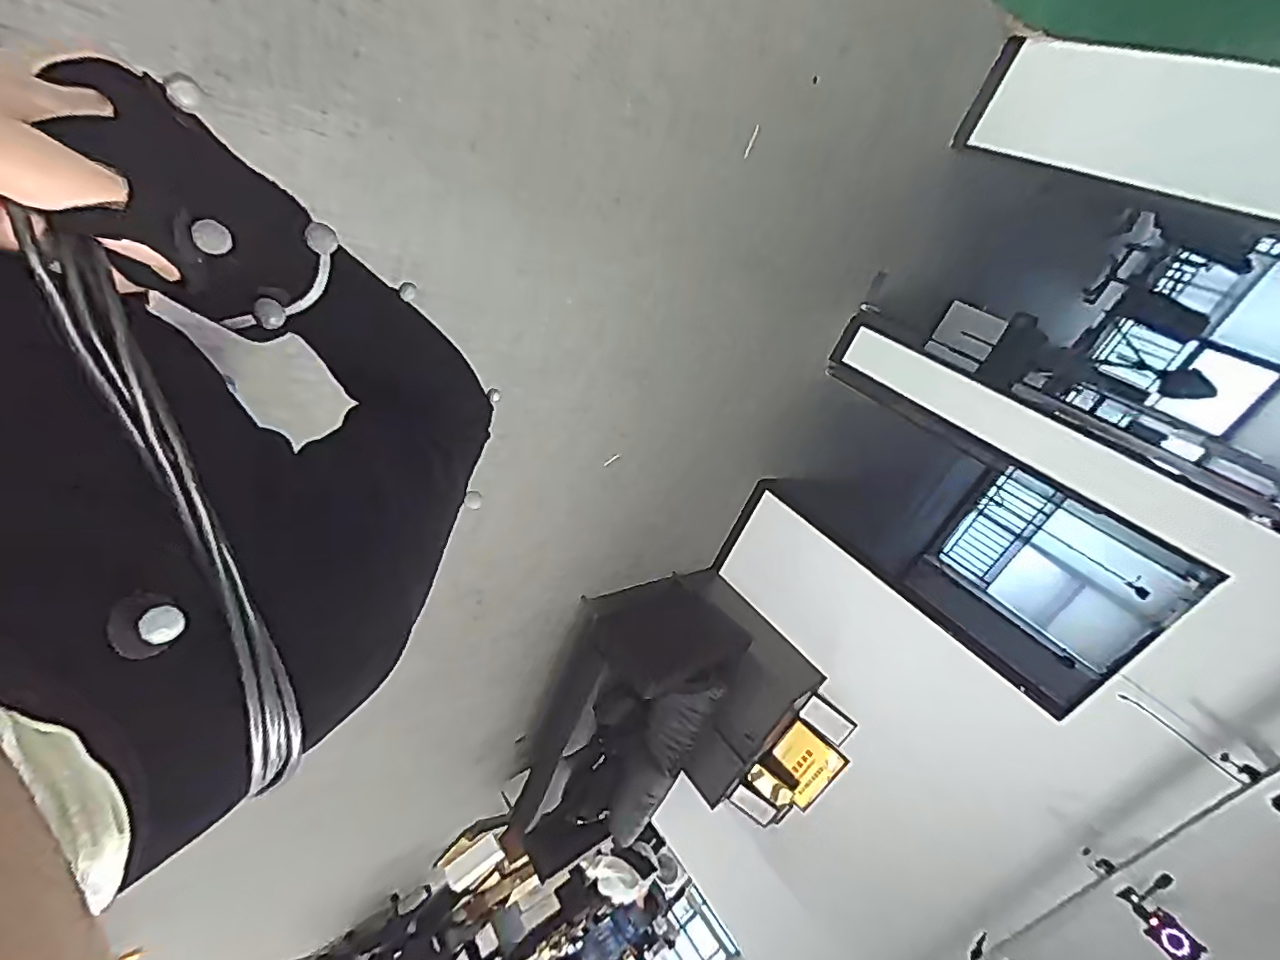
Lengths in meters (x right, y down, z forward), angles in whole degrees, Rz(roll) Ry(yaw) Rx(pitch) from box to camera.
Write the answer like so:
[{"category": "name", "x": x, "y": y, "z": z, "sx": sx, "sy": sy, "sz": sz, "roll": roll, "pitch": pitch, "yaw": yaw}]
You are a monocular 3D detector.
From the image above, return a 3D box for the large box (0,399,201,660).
[{"category": "large box", "x": -1.148, "y": 0.094, "z": 1.099, "sx": 0.320, "sy": 0.320, "sz": 0.408, "roll": 6, "pitch": 121, "yaw": -50}]
